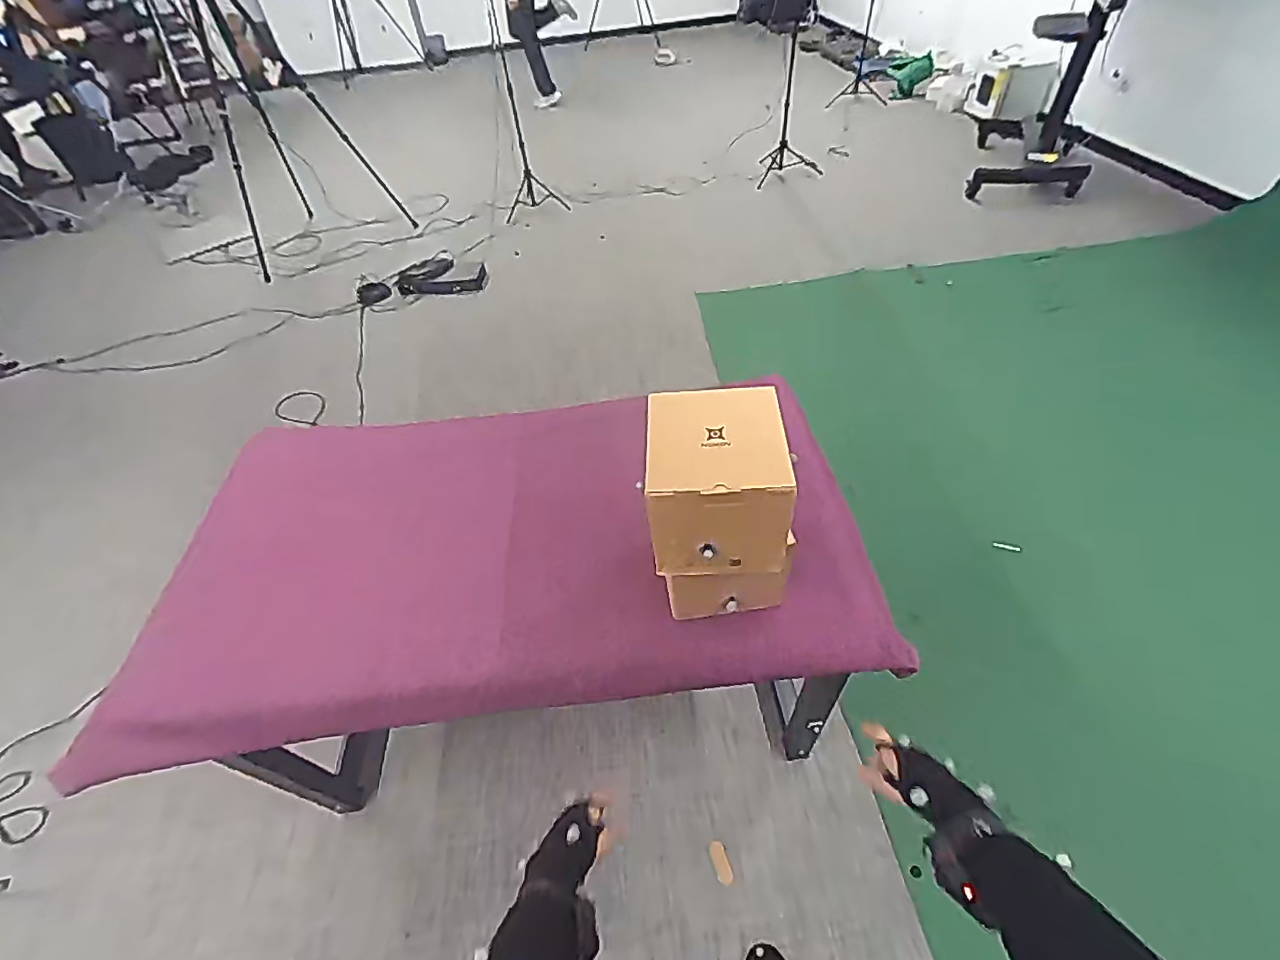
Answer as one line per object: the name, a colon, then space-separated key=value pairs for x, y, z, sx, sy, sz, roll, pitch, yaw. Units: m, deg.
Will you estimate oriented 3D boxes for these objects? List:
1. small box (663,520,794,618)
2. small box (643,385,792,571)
small box: x=0.120 y=0.093 z=0.836 sx=0.179 sy=0.176 sz=0.168 roll=-8 pitch=46 yaw=-1
small box: x=0.094 y=-0.001 z=0.703 sx=0.168 sy=0.176 sz=0.179 roll=-3 pitch=48 yaw=5
